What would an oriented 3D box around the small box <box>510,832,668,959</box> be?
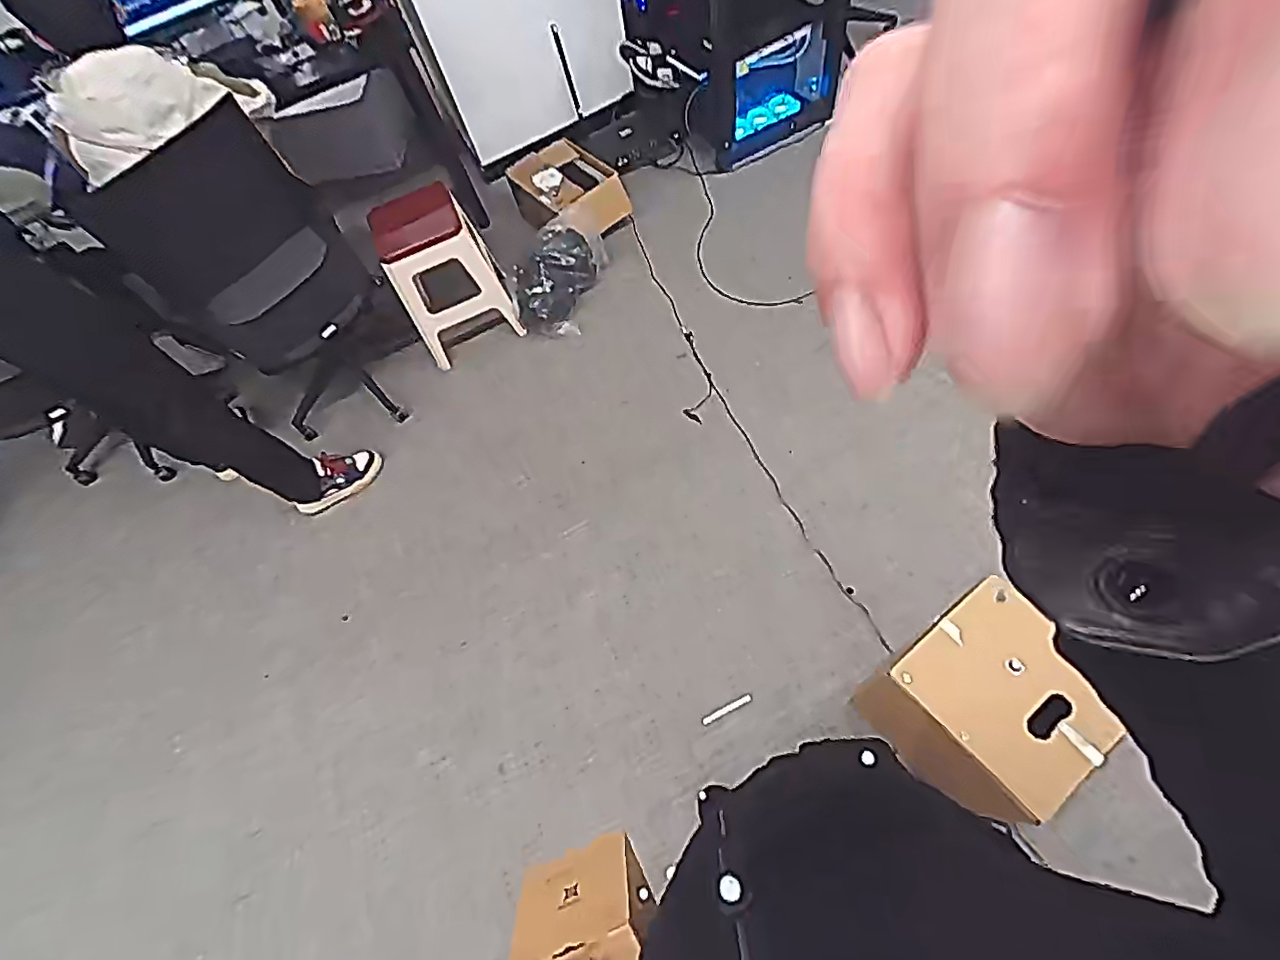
[{"bbox_3d":[-0.062,0.651,0.748,0.168,0.179,0.176,-22,93,-3],"label":"small box"}]
